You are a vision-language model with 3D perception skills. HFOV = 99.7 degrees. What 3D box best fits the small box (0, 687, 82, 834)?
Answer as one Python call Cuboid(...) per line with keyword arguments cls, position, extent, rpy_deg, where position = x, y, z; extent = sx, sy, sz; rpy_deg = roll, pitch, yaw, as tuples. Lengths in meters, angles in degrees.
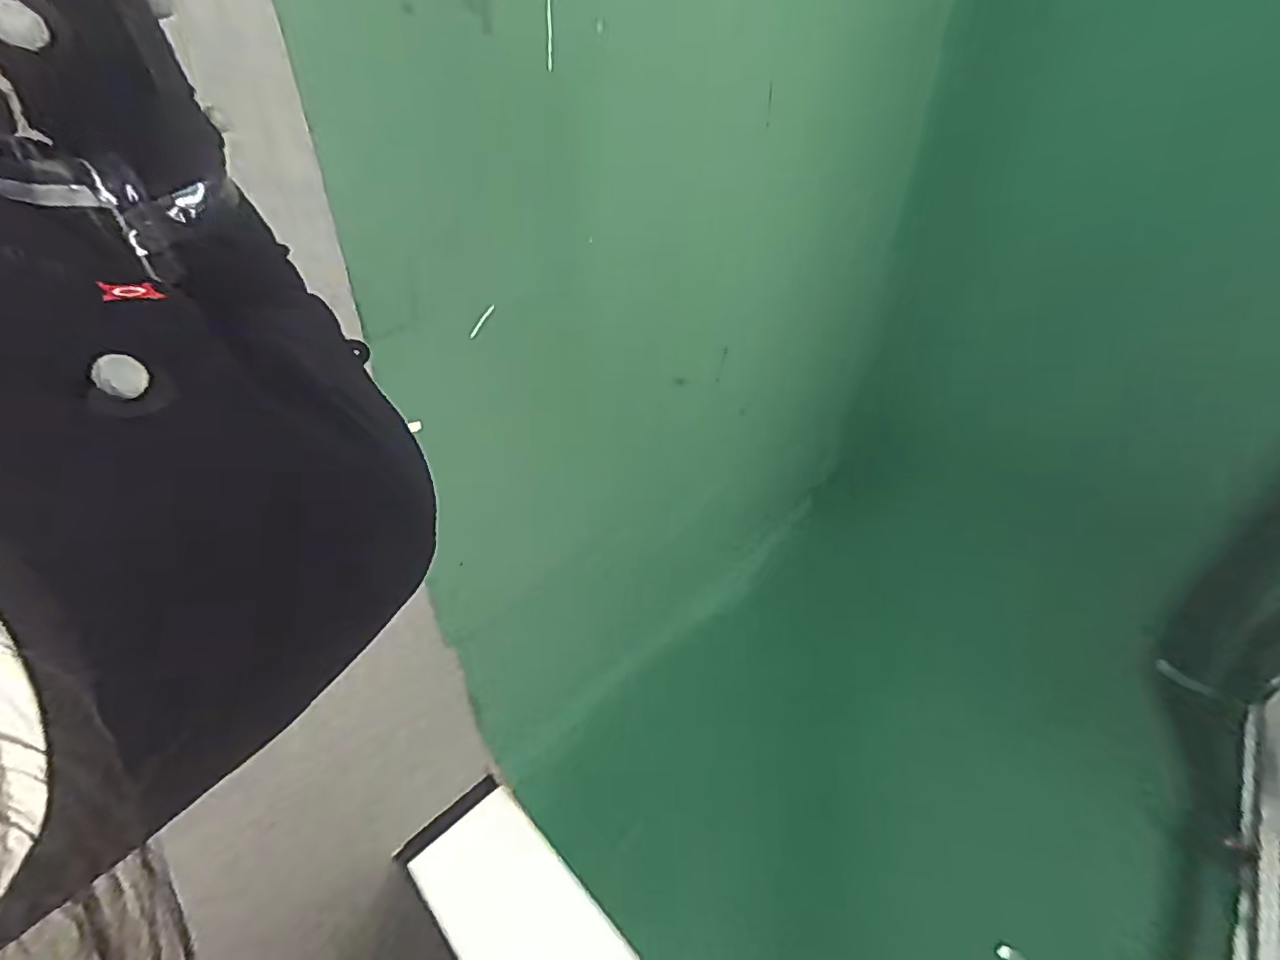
Cuboid(cls="small box", position=(-1.133, 0.494, 0.946), extent=(0.168, 0.176, 0.179), rpy_deg=(-23, 132, -40))
